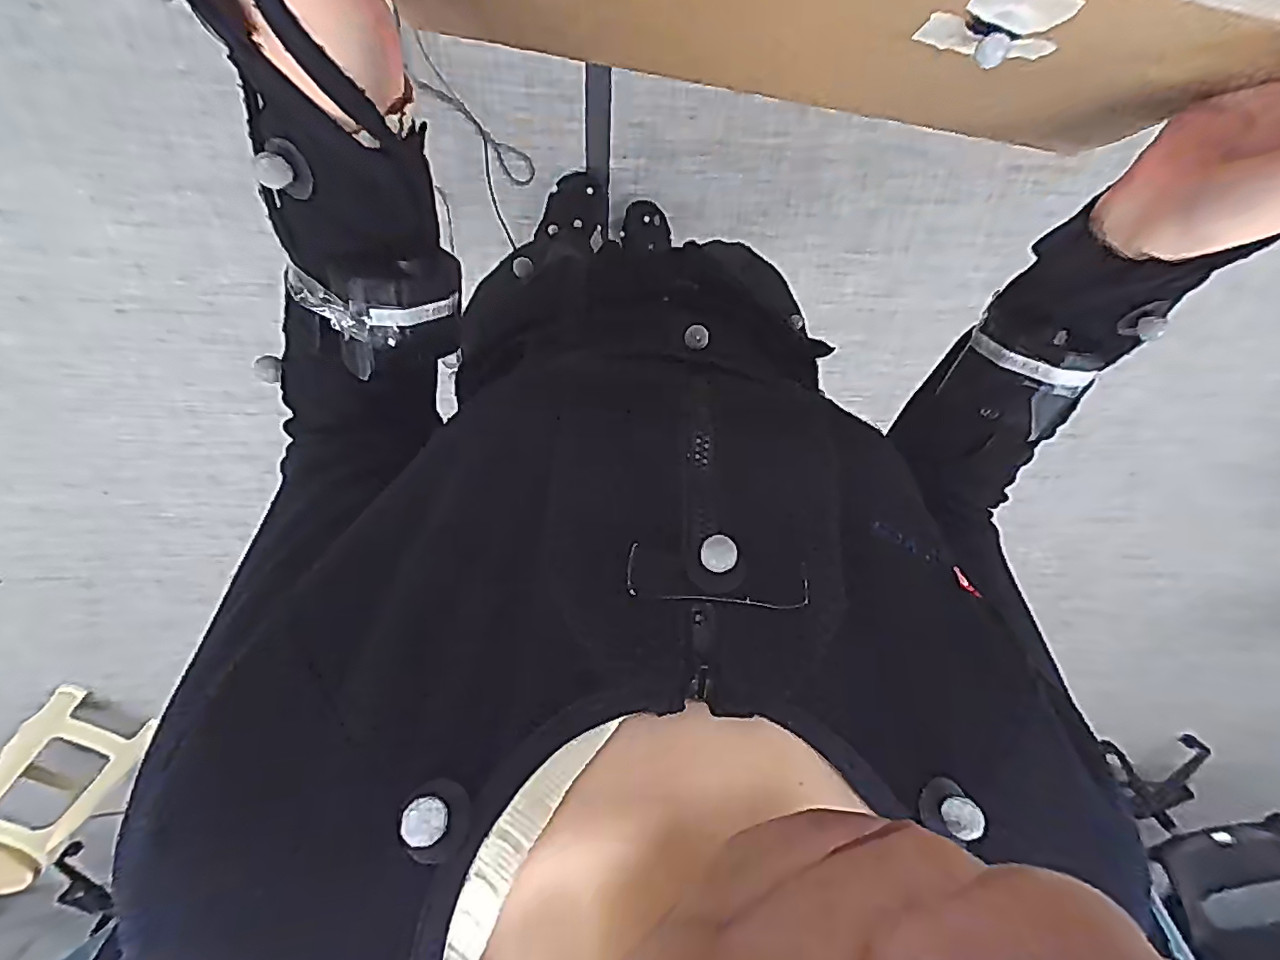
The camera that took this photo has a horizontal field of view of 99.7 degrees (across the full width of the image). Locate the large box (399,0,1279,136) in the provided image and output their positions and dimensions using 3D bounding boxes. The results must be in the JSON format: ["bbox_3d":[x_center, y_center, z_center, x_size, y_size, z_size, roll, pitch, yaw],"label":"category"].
[{"bbox_3d":[0.099,-0.338,0.136,0.408,0.320,0.320,5,106,-7],"label":"large box"}]
